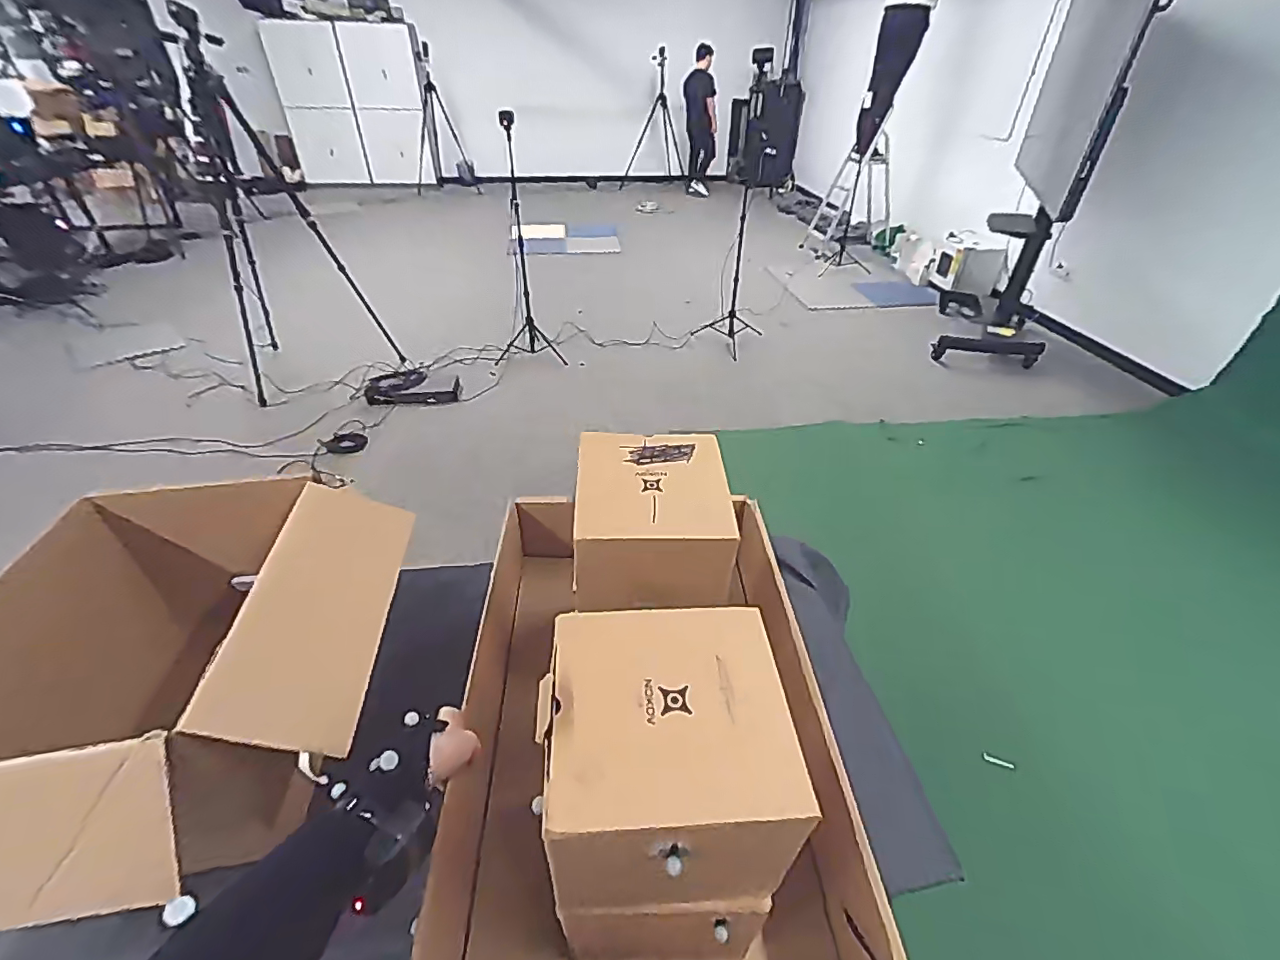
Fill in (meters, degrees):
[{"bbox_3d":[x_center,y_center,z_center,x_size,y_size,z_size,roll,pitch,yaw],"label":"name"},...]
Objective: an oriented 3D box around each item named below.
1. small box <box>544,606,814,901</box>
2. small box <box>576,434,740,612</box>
[{"bbox_3d":[0.019,0.225,0.450,0.179,0.176,0.168,-1,39,-5],"label":"small box"},{"bbox_3d":[0.012,0.064,0.645,0.168,0.176,0.179,1,41,-3],"label":"small box"}]
